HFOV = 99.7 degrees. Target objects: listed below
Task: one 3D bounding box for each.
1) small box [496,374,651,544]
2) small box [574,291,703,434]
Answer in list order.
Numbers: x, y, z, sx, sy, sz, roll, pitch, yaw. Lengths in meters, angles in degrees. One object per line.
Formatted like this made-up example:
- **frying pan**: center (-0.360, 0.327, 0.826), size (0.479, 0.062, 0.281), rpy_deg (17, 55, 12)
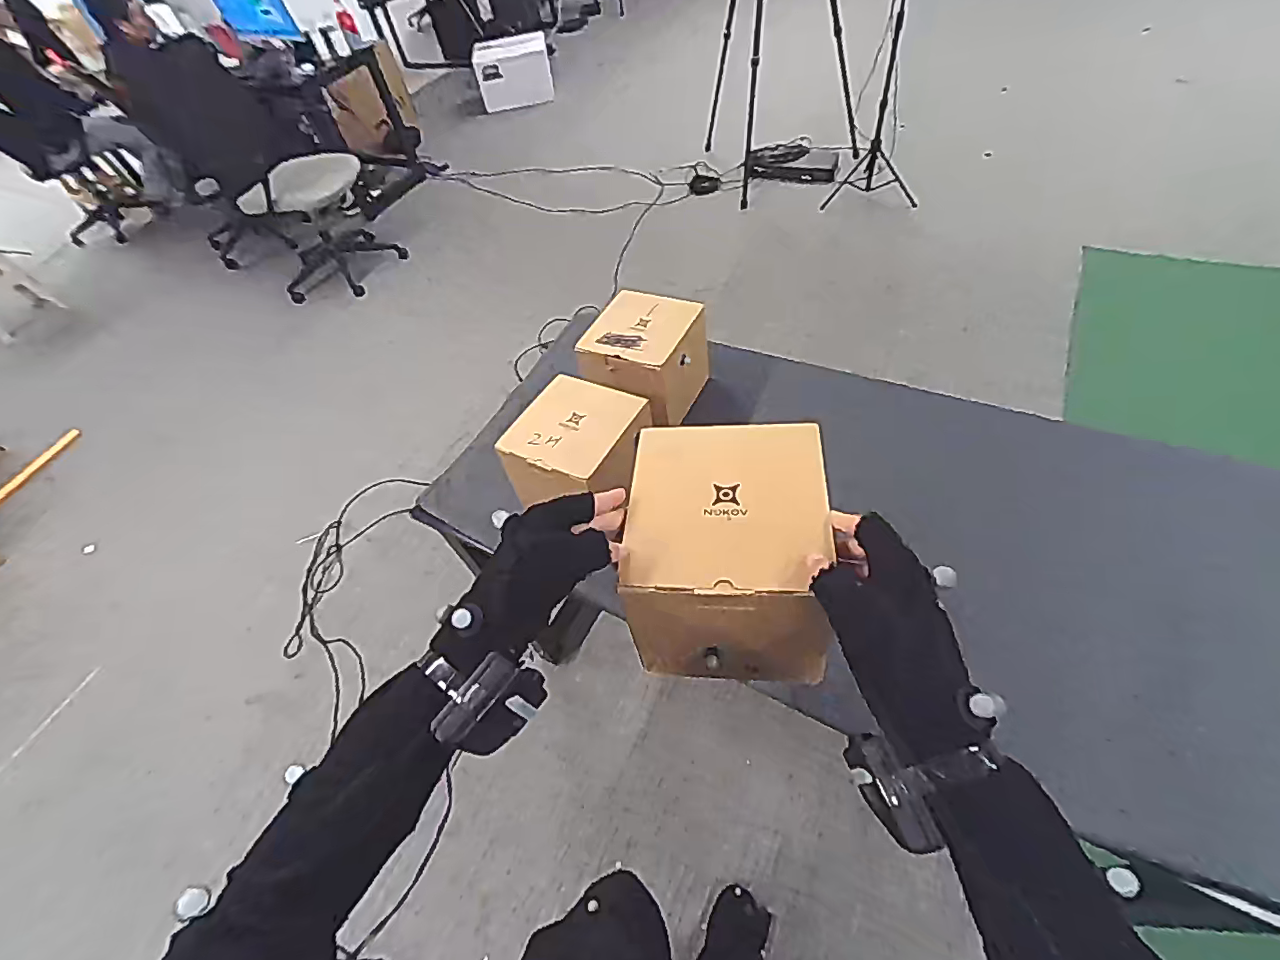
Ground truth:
- **small box**: center (-0.091, -0.032, 0.853), size (0.168, 0.176, 0.179), rpy_deg (20, 57, 22)
- **small box**: center (0.009, -0.209, 0.974), size (0.168, 0.176, 0.179), rpy_deg (18, 57, 22)
